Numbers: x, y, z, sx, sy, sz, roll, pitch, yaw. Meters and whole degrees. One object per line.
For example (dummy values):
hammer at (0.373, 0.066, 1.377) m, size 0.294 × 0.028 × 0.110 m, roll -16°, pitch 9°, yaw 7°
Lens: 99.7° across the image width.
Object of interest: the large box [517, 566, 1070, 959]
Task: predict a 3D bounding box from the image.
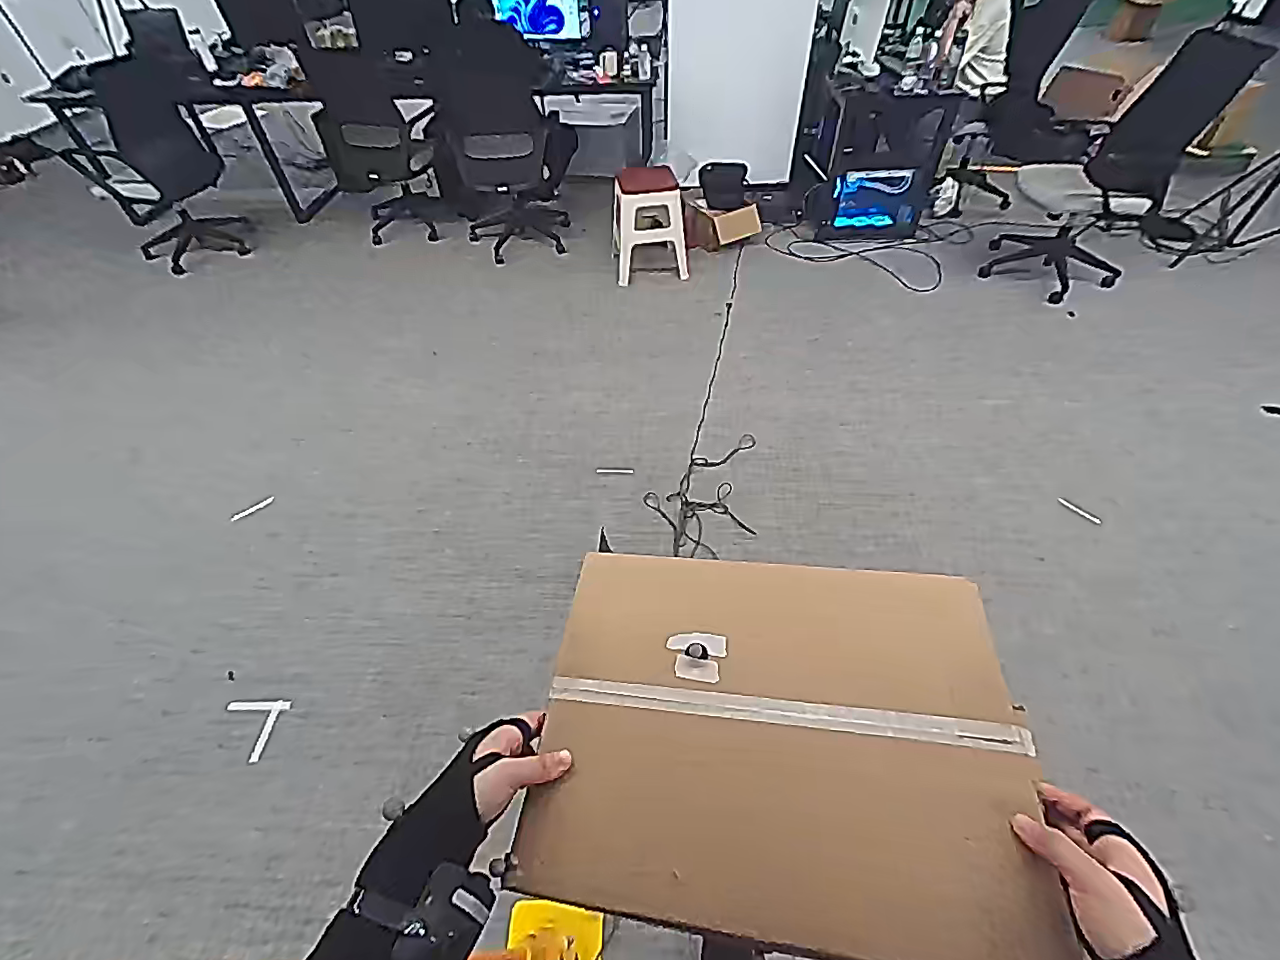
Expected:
large box at (0.137, 0.312, 0.601) m, size 0.408 × 0.320 × 0.320 m, roll 1°, pitch 48°, yaw 12°
